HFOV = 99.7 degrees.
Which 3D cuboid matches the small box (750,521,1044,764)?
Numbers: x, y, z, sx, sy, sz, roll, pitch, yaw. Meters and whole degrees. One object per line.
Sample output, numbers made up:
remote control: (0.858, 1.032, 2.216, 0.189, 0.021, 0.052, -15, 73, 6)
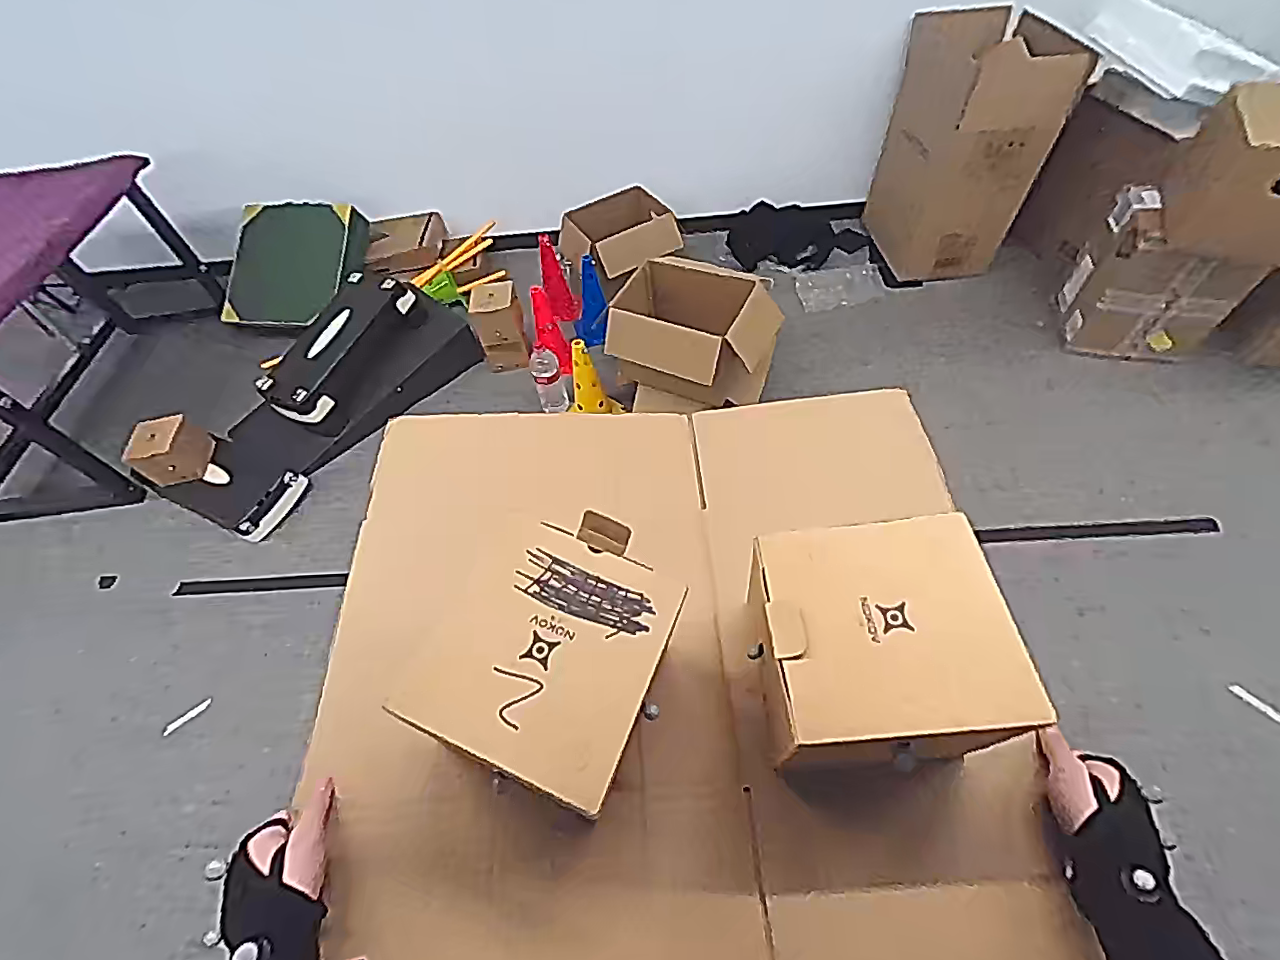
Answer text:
small box: (0.204, 0.155, 0.493, 0.179, 0.176, 0.168, -7, 57, 4)
